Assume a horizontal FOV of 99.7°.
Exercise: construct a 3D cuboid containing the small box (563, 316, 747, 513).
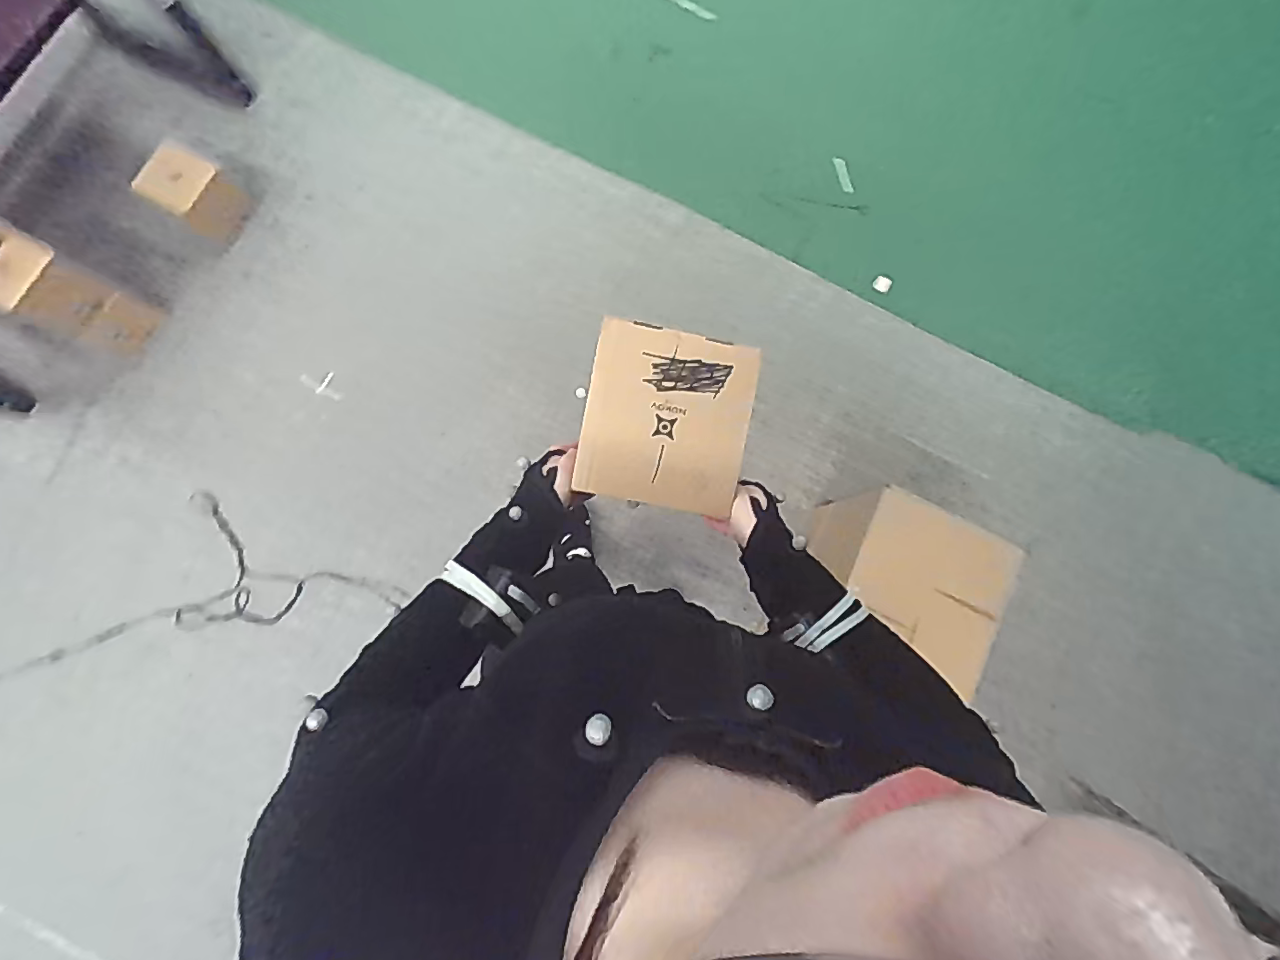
[{"bbox_3d":[0.008,-0.070,0.628,0.168,0.176,0.179,10,94,-6],"label":"small box"}]
